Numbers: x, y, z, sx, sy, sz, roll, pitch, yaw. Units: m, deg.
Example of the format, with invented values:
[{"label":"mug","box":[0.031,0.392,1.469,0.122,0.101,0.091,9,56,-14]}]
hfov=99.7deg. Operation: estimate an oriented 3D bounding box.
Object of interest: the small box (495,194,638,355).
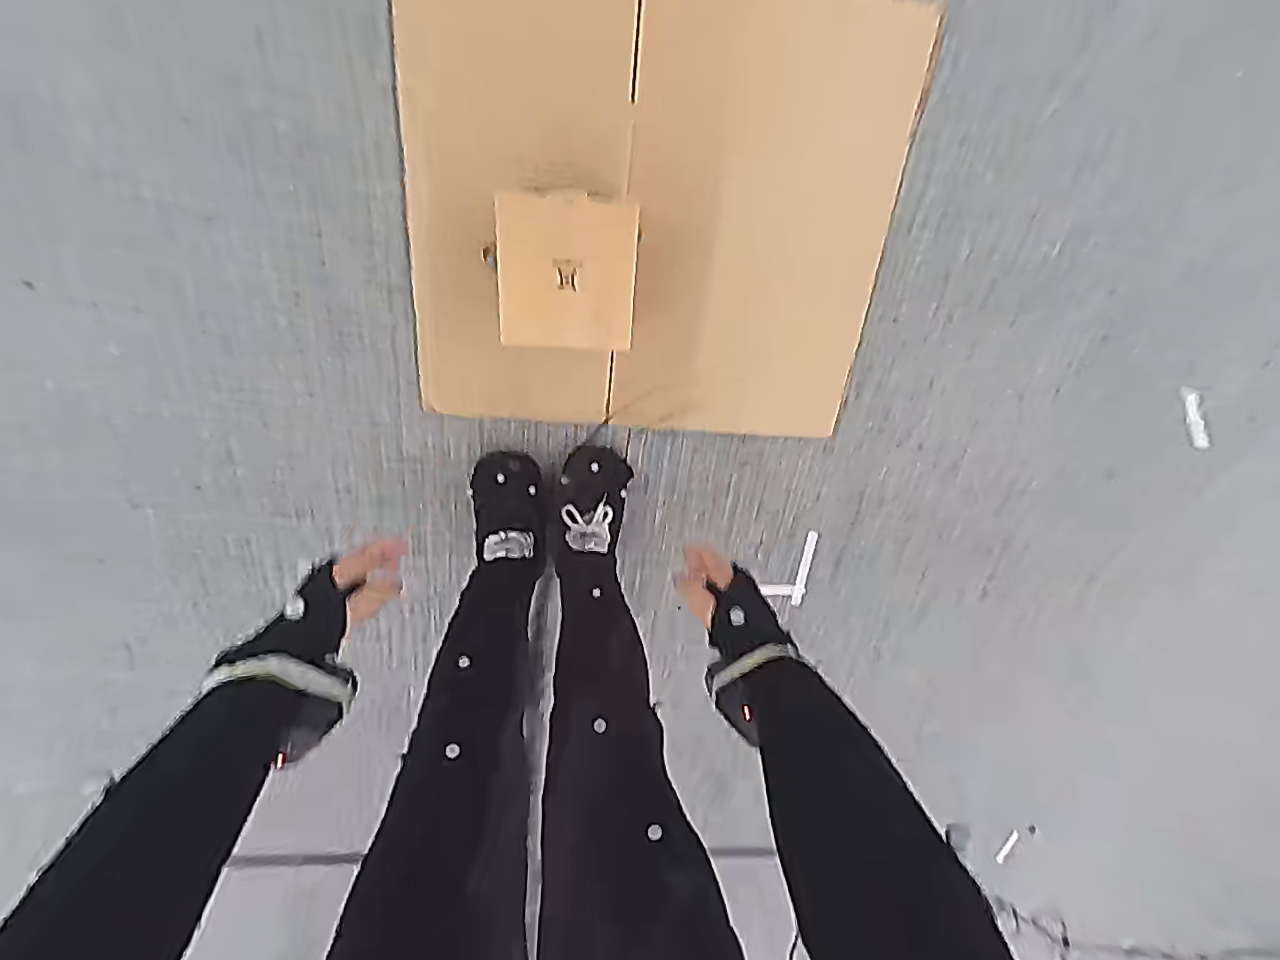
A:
[{"label":"small box","box":[-0.096,-0.275,0.722,0.168,0.176,0.179,1,115,-7]}]
